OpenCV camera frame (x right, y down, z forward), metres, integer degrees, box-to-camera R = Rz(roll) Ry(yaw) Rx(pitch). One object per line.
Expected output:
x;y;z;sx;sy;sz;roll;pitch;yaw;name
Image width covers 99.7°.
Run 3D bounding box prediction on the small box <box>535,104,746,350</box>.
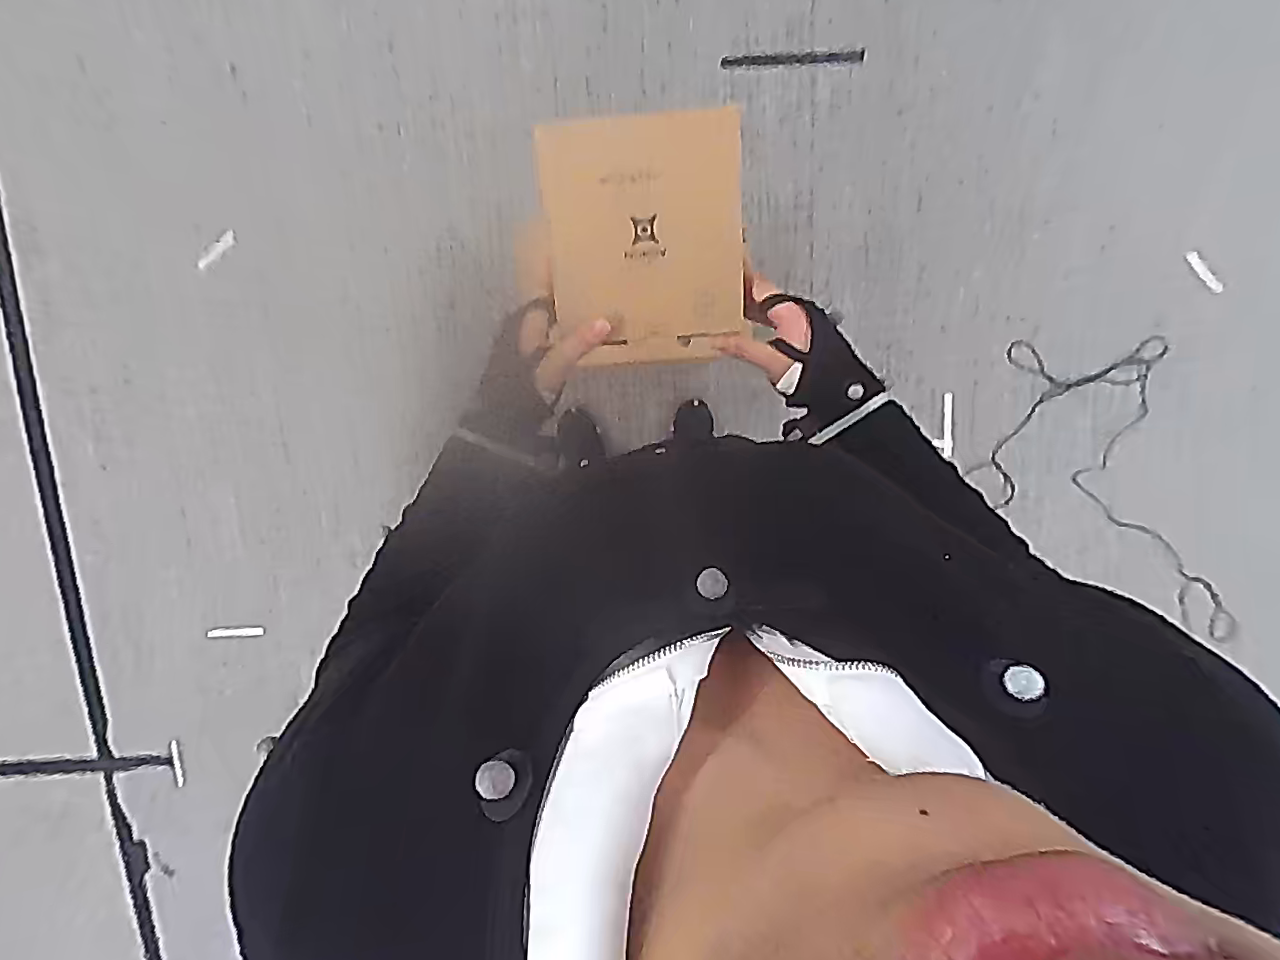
0.004;-0.230;0.519;0.168;0.176;0.179;-5;110;0;small box
